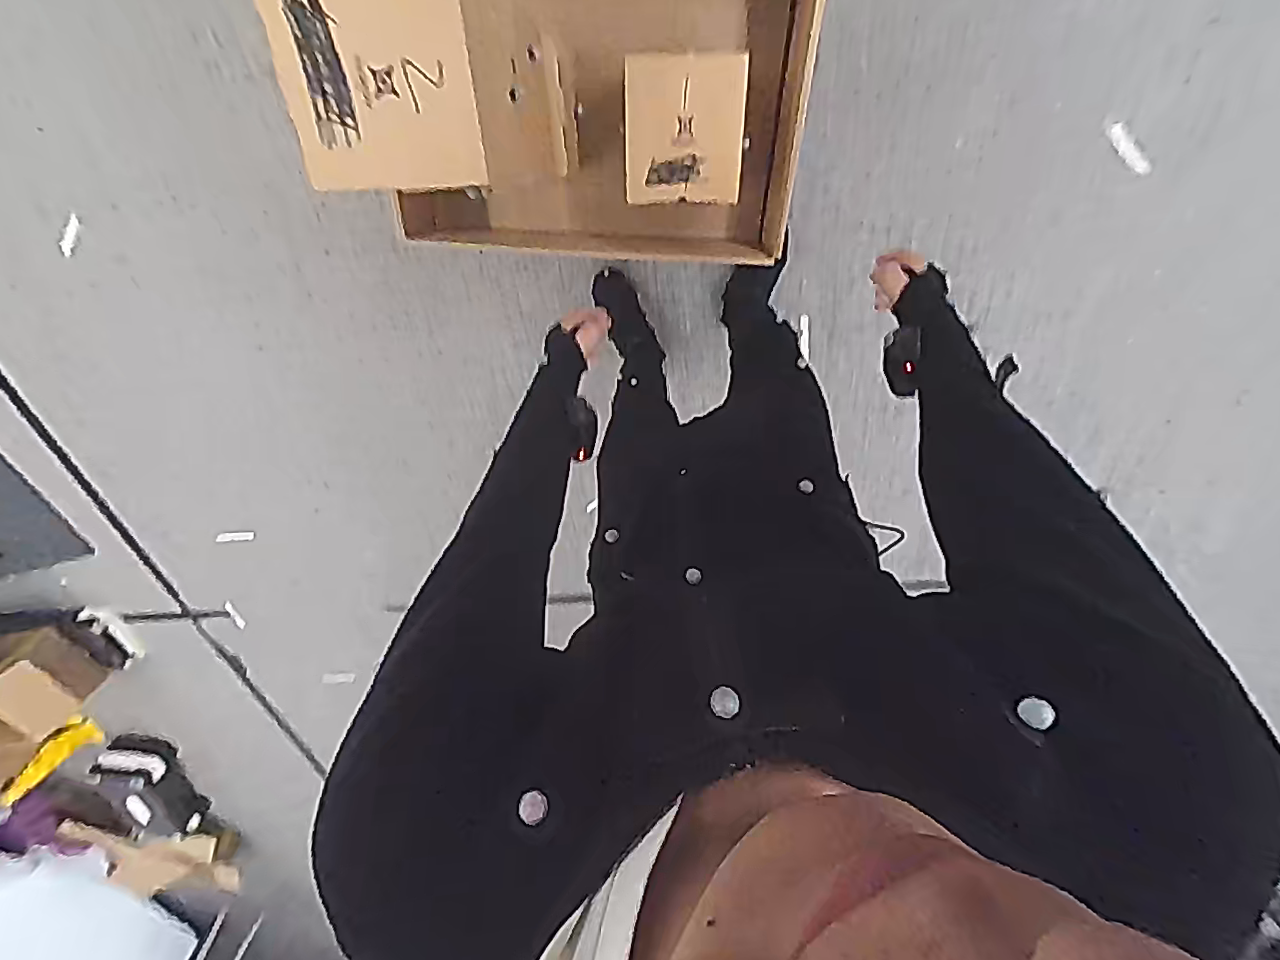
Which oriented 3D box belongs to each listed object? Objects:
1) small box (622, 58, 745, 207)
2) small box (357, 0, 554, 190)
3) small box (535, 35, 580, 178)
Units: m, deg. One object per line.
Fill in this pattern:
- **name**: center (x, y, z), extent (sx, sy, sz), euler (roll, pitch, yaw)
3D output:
- **small box**: center (0.062, -0.521, 0.820), extent (0.168, 0.176, 0.179), euler (1, 121, 3)
- **small box**: center (-0.211, -0.468, 0.676), extent (0.168, 0.176, 0.179), euler (-1, 121, 5)
- **small box**: center (-0.193, -0.552, 0.815), extent (0.179, 0.176, 0.168), euler (1, 122, 2)
